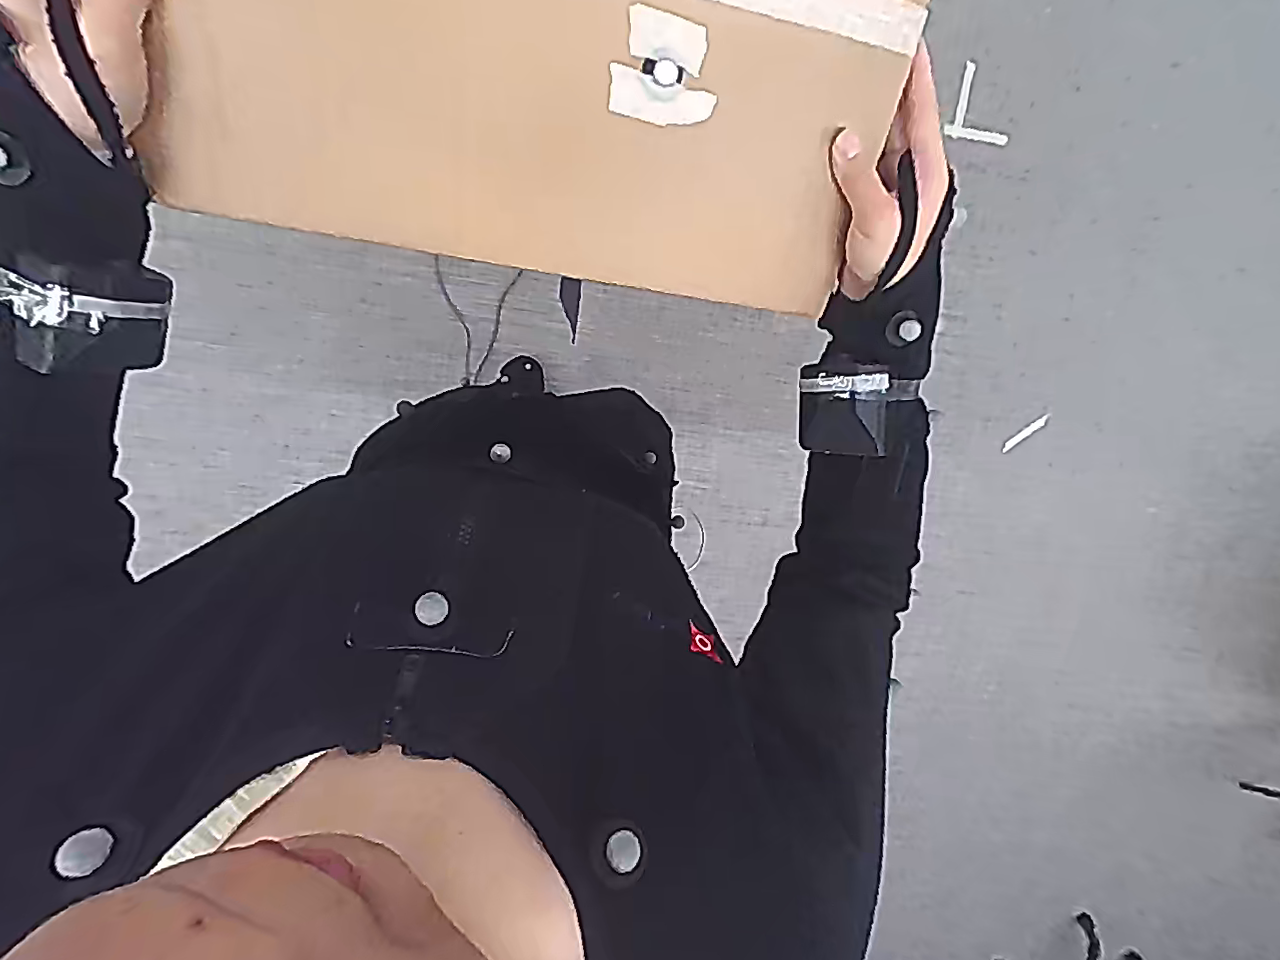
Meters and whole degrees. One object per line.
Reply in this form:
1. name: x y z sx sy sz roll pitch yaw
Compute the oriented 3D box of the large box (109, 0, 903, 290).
1. large box: -0.070 -0.350 0.390 0.408 0.320 0.320 5 121 -12
